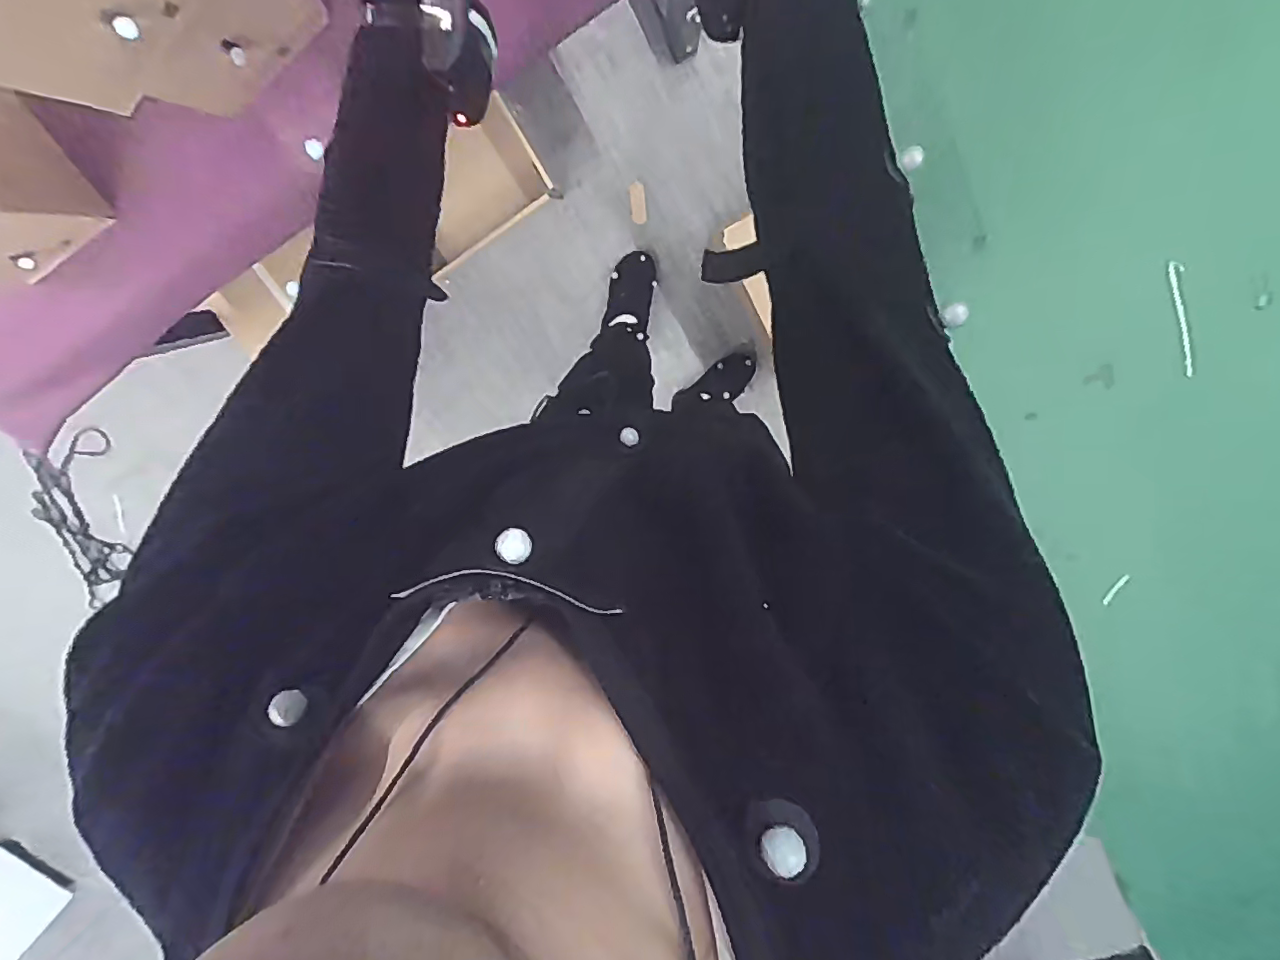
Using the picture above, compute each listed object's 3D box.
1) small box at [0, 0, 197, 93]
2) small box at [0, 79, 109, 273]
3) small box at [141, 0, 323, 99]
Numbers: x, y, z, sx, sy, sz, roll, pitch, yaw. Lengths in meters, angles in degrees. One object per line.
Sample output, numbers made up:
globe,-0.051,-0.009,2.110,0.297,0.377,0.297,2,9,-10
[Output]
small box,-0.437,-0.397,0.343,0.168,0.176,0.179,-36,107,17
small box,-0.746,-0.329,0.566,0.168,0.176,0.179,-26,111,12
small box,-0.438,-0.483,0.487,0.168,0.176,0.179,-30,109,13
